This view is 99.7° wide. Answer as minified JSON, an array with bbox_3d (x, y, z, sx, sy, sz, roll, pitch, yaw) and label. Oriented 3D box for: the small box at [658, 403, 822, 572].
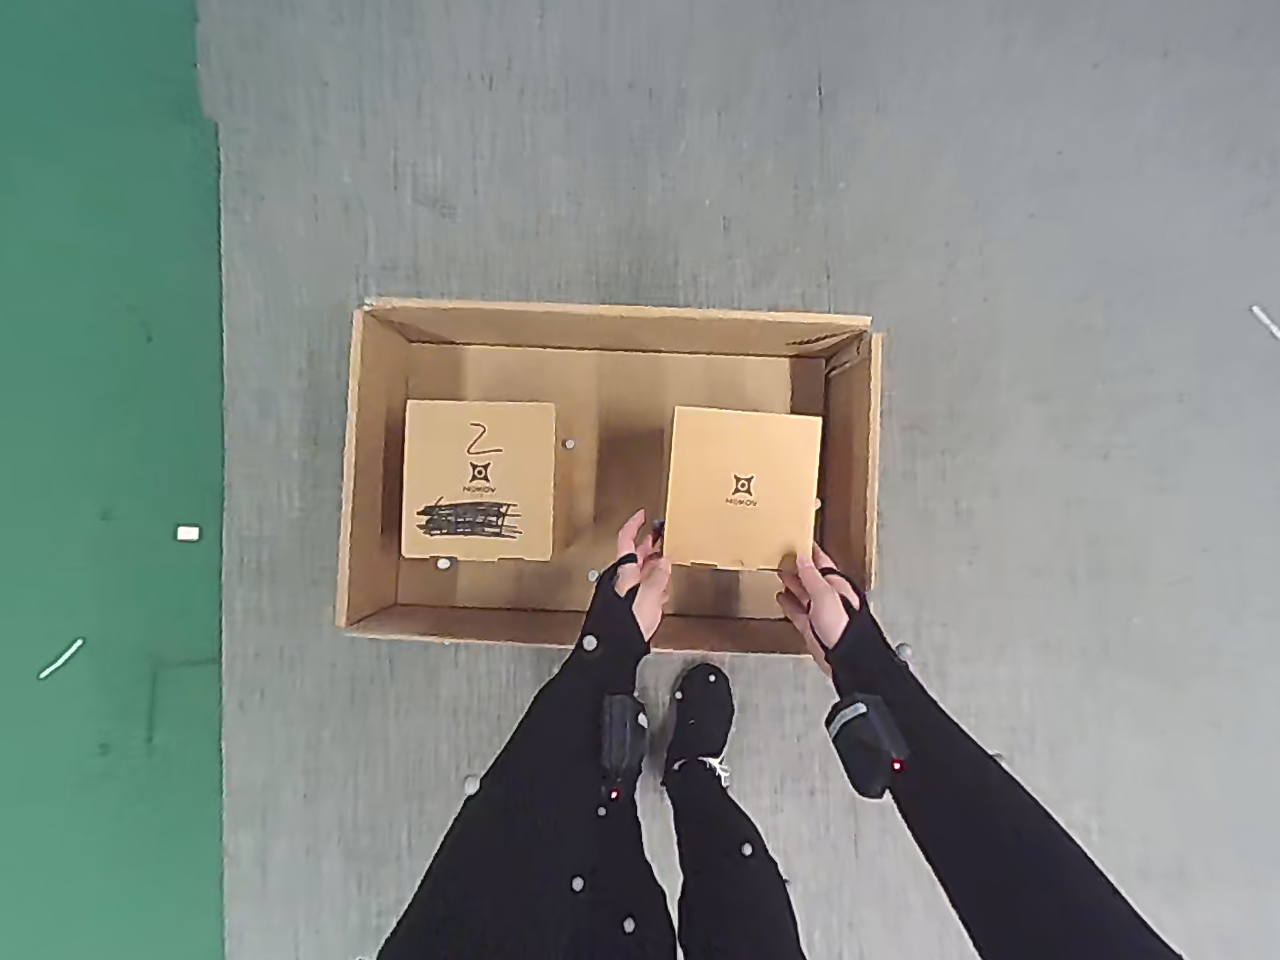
[{"bbox_3d":[0.113,0.010,0.673,0.168,0.176,0.179,4,89,0],"label":"small box"}]
